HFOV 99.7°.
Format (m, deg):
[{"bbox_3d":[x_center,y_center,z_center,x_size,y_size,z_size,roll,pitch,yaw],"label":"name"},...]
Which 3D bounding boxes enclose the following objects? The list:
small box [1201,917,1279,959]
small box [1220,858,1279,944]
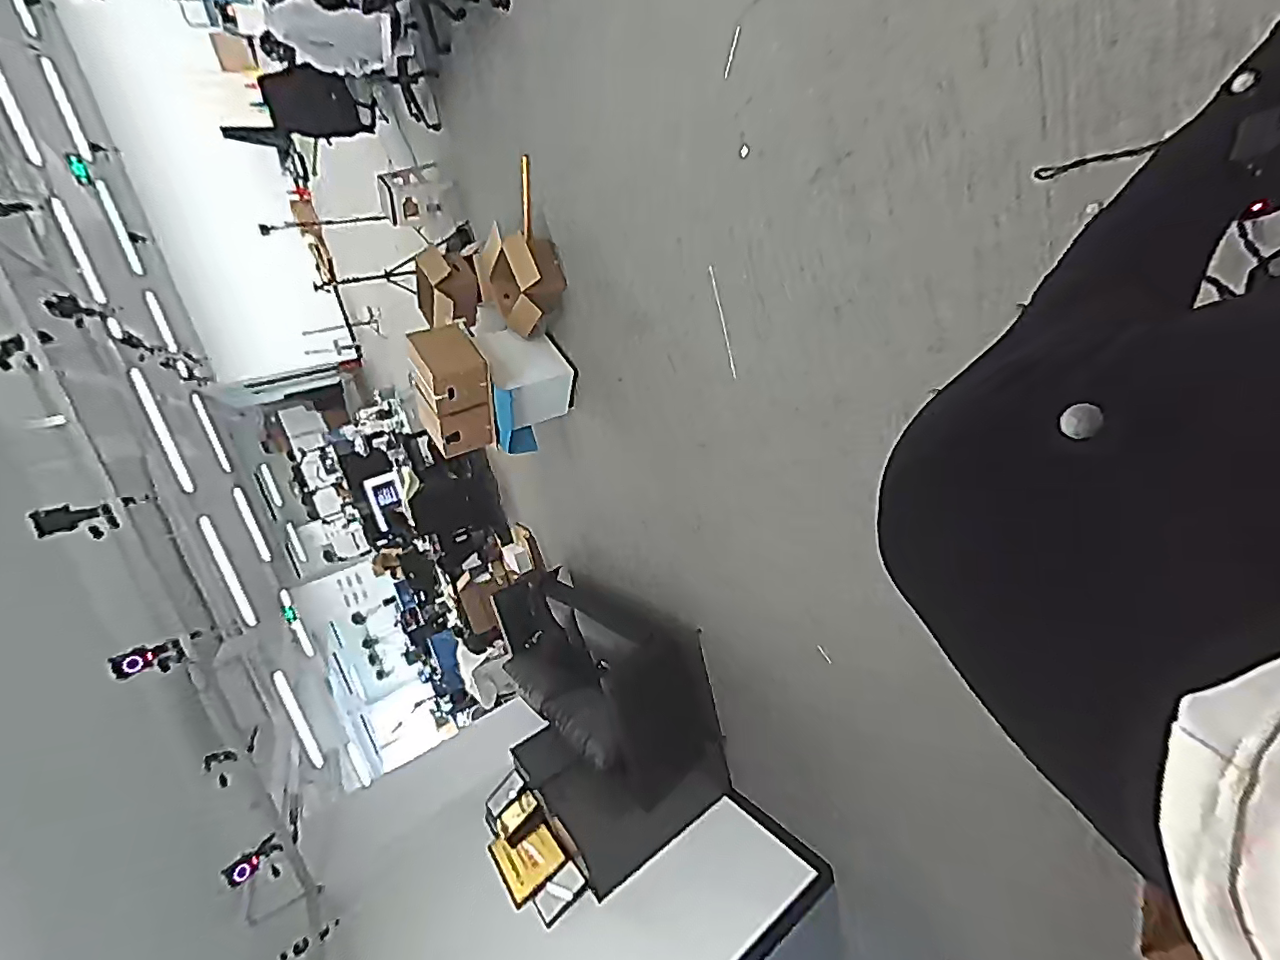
[{"bbox_3d":[1.033,0.887,0.880,0.168,0.176,0.179,12,117,56],"label":"small box"},{"bbox_3d":[1.165,0.839,0.961,0.168,0.176,0.179,12,118,55],"label":"small box"}]
